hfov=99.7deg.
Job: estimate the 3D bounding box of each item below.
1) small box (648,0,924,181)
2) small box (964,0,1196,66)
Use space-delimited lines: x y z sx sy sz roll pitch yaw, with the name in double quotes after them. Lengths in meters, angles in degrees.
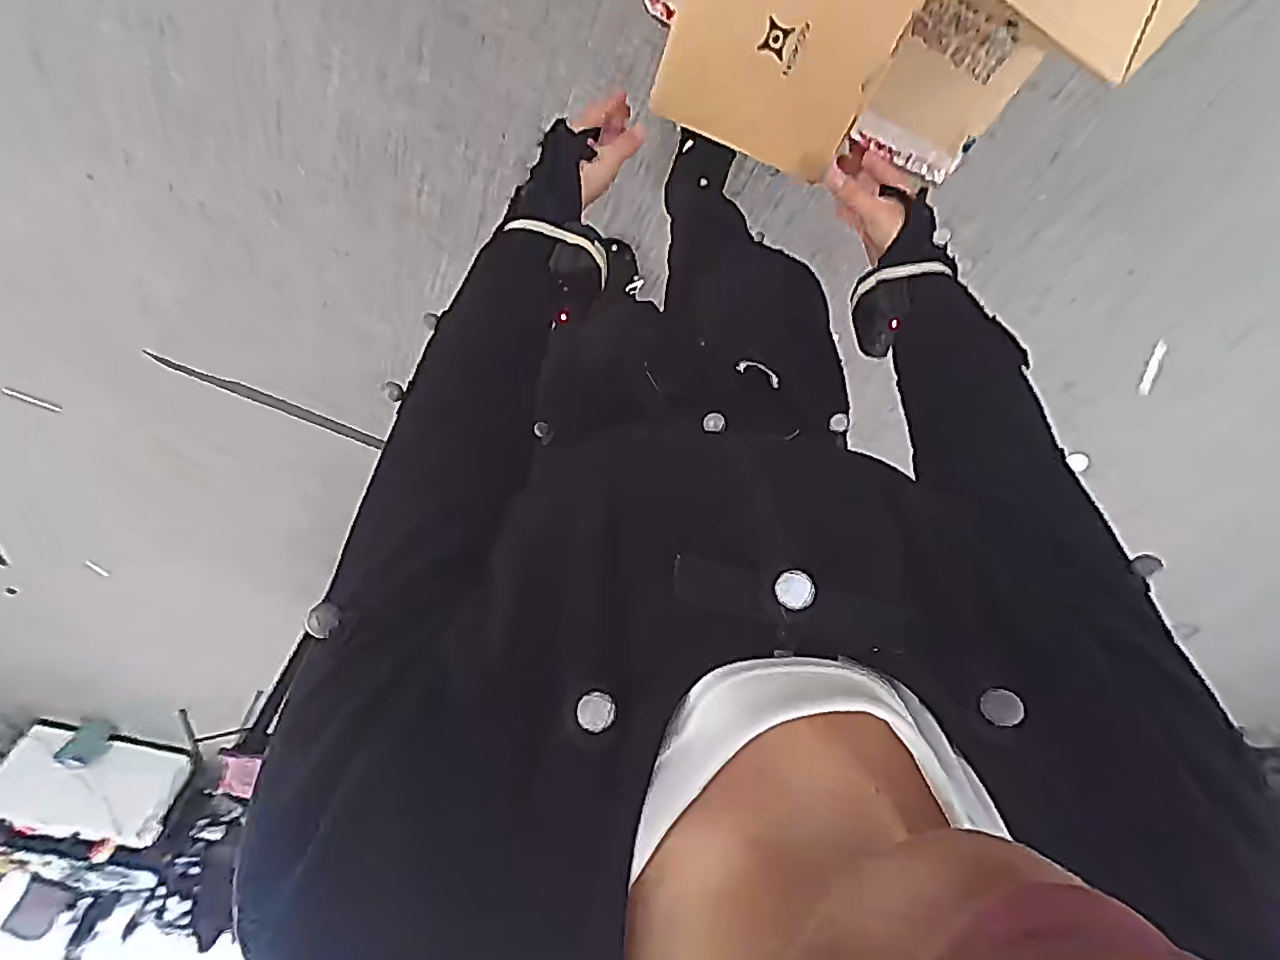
0.123 -0.411 0.486 0.179 0.176 0.168 18 138 -10 "small box"
0.349 -0.449 0.404 0.168 0.176 0.179 20 135 -16 "small box"
